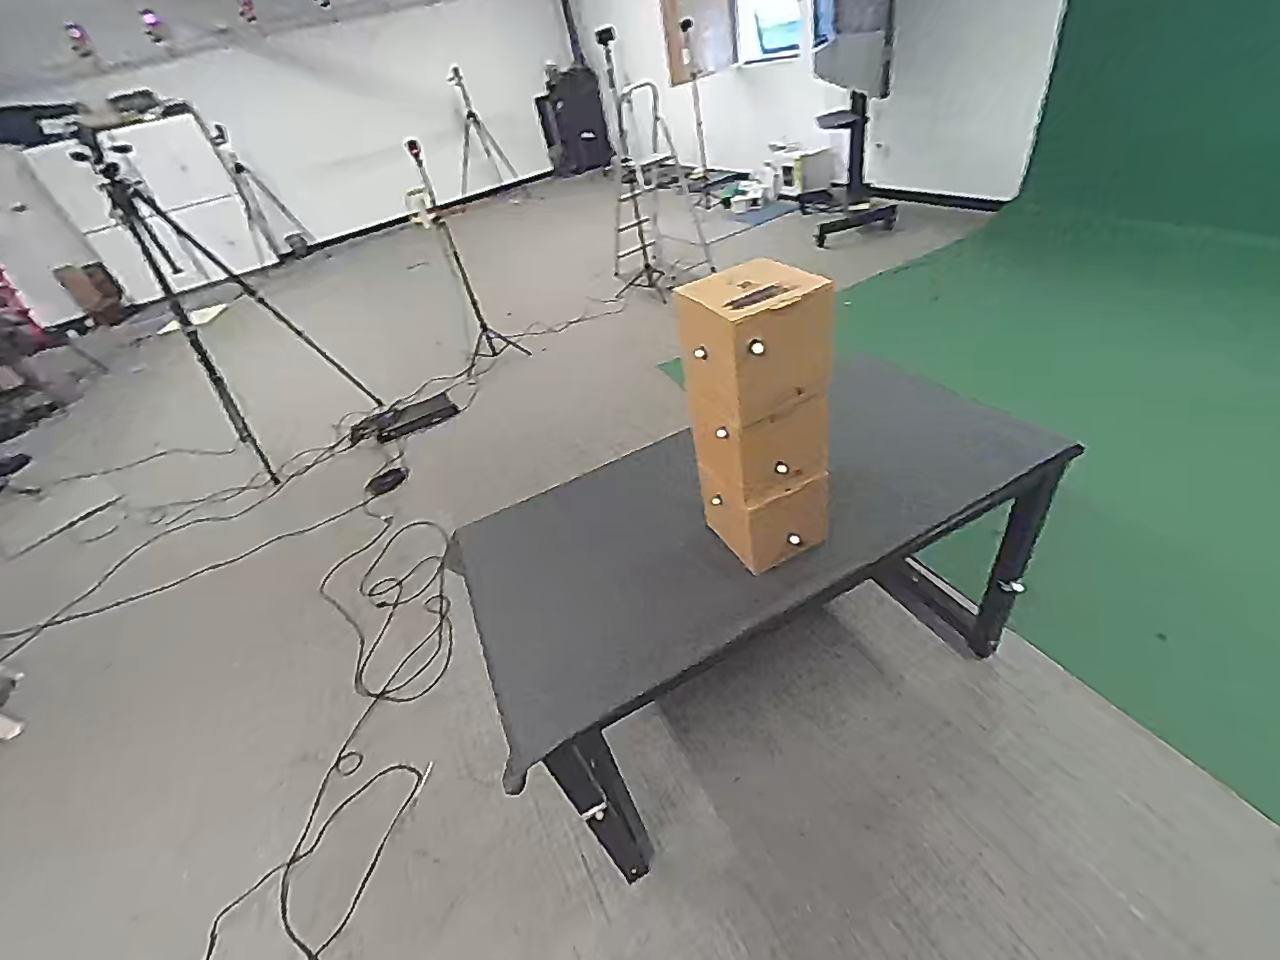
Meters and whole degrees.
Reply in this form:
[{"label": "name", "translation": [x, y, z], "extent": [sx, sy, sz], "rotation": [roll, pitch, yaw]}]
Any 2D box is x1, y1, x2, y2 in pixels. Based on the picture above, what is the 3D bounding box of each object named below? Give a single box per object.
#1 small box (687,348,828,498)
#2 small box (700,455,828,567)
[{"label": "small box", "translation": [0.199, -0.099, 0.931], "extent": [0.168, 0.176, 0.179], "rotation": [-24, 39, -12]}, {"label": "small box", "translation": [0.233, 0.030, 1.023], "extent": [0.168, 0.176, 0.179], "rotation": [-25, 39, -12]}]
